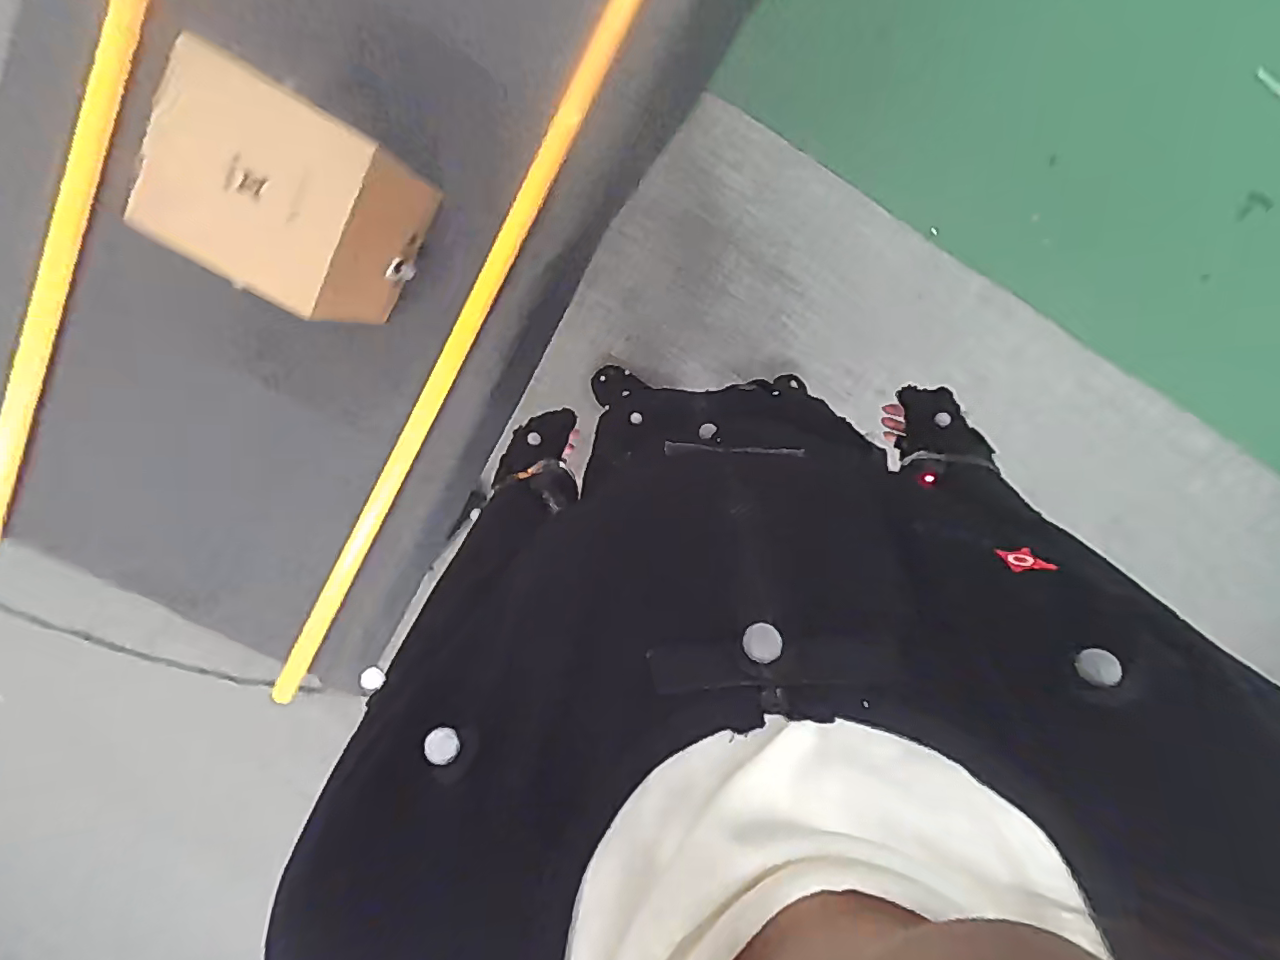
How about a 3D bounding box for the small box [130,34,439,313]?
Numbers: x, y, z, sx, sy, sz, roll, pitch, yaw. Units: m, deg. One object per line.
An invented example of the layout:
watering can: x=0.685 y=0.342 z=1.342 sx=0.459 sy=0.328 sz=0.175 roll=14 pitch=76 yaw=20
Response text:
small box: x=-0.340 y=-0.282 z=0.550 sx=0.179 sy=0.176 sz=0.168 roll=27 pitch=103 yaw=-7
